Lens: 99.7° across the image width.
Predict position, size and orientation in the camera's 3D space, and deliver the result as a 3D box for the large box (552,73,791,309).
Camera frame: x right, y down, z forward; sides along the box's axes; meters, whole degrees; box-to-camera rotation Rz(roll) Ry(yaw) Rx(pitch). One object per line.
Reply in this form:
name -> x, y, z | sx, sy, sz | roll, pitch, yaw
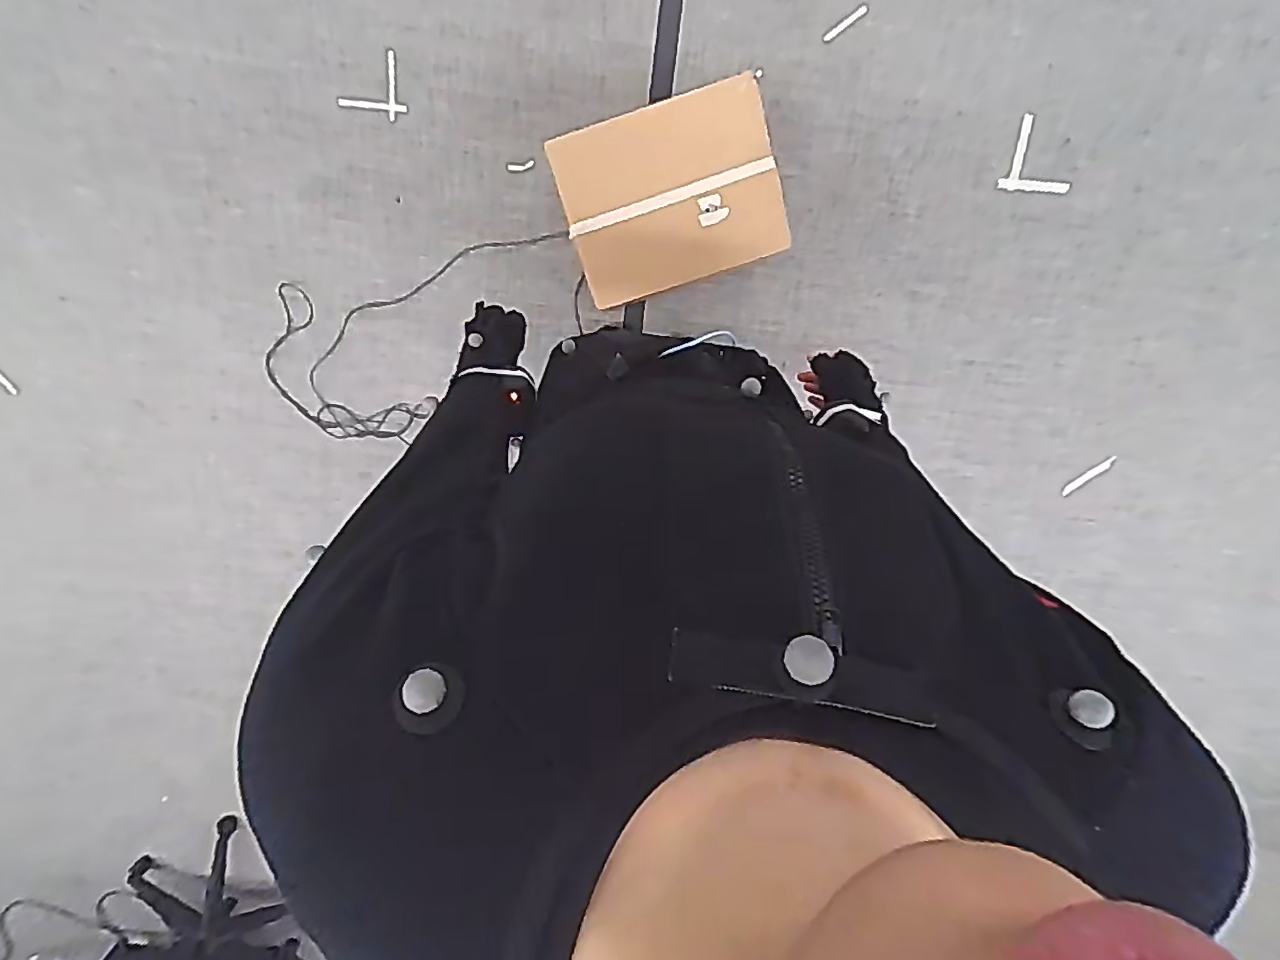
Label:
large box -> 0.060, -0.587, 1.177 | 0.408, 0.320, 0.320 | -17, 107, 2
